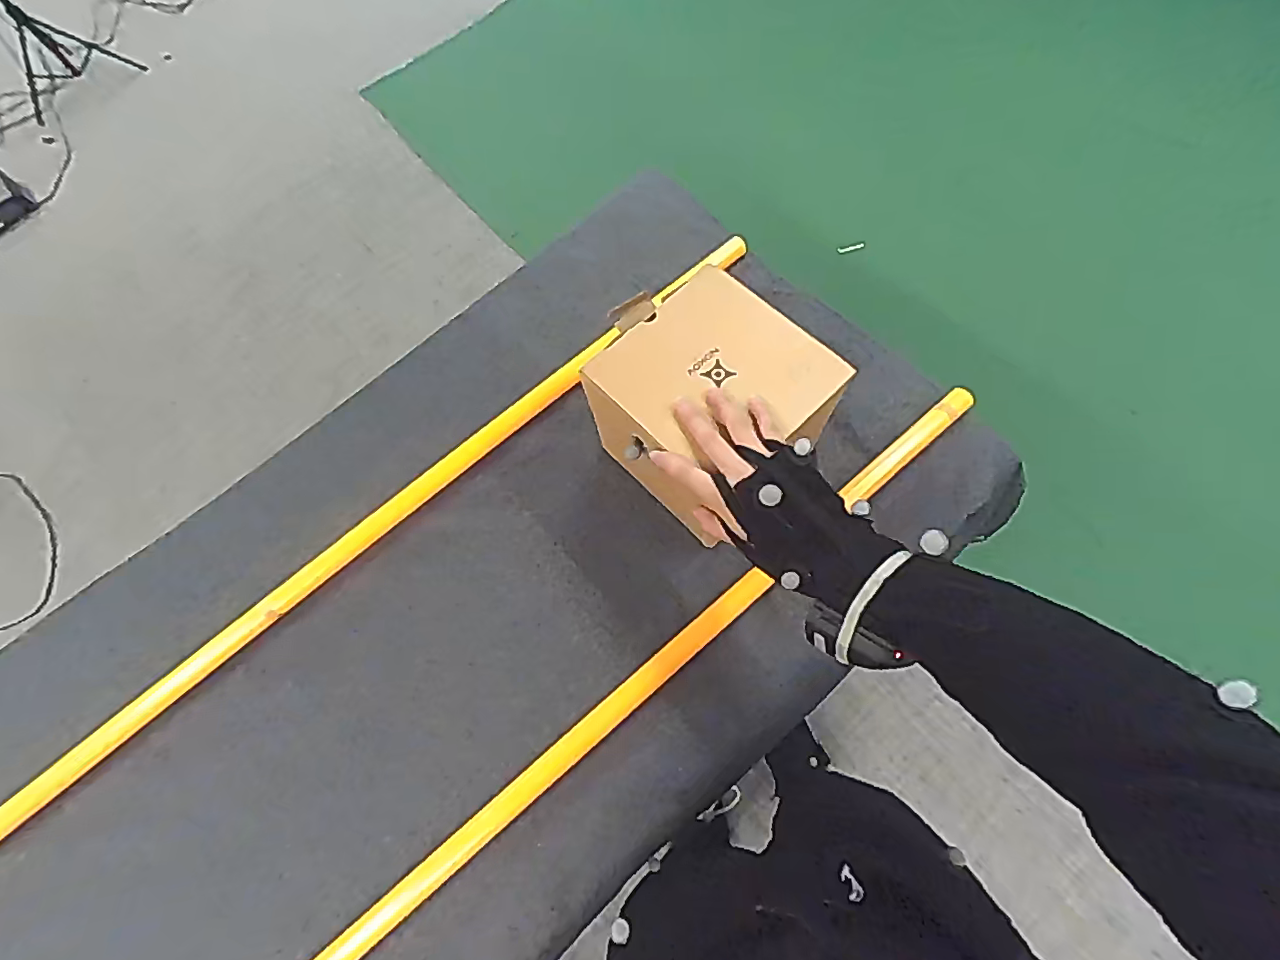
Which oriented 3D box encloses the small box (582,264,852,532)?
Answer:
[{"bbox_3d":[0.072,-0.067,0.540,0.168,0.176,0.179,-42,70,-10],"label":"small box"}]
